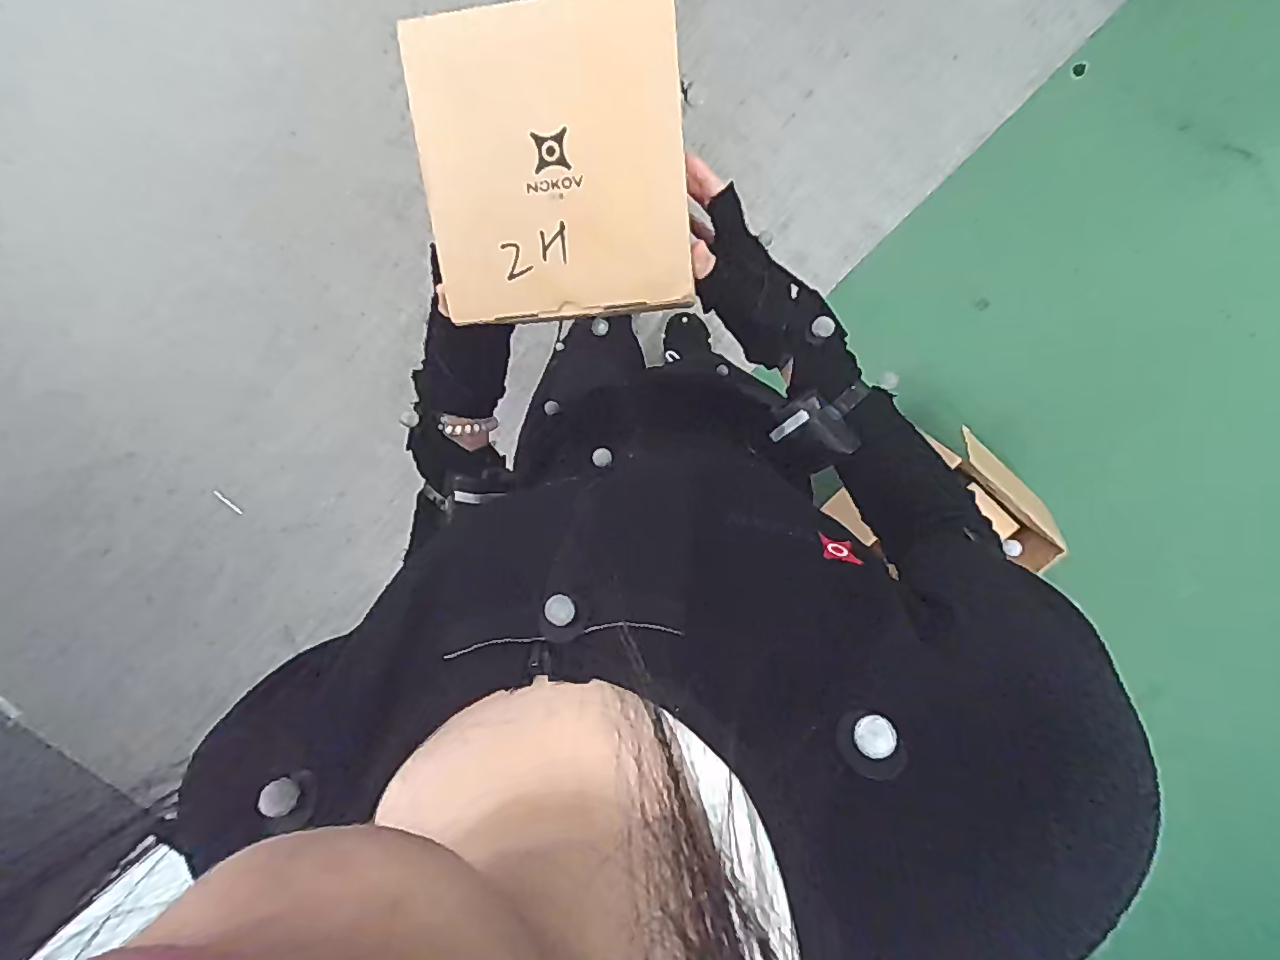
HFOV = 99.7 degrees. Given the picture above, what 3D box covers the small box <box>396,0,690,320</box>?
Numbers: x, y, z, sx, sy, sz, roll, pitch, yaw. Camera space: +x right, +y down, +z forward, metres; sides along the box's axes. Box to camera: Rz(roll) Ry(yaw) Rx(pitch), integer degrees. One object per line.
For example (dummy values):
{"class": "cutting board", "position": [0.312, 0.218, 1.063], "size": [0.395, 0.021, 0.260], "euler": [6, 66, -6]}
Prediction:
{"class": "small box", "position": [-0.050, -0.218, 0.407], "size": [0.168, 0.176, 0.179], "euler": [-4, 106, 7]}
